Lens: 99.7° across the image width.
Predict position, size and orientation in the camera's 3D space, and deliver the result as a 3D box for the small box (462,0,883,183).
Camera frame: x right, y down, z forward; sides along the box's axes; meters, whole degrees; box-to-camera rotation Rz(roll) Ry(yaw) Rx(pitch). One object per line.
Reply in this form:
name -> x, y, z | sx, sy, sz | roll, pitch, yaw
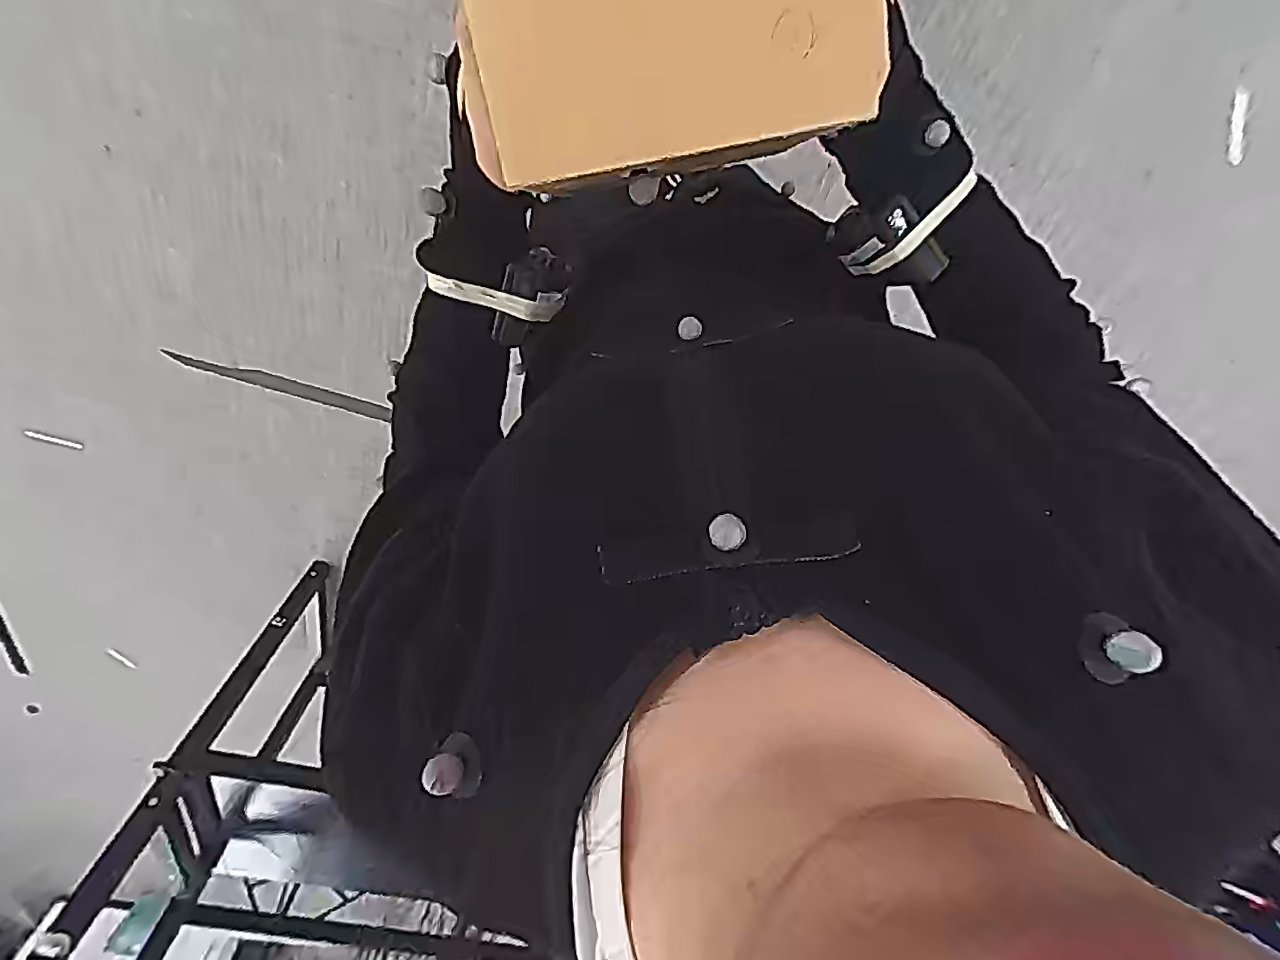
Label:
small box -> 0.008, -0.257, 0.267 | 0.168, 0.176, 0.179 | -9, 115, 5
